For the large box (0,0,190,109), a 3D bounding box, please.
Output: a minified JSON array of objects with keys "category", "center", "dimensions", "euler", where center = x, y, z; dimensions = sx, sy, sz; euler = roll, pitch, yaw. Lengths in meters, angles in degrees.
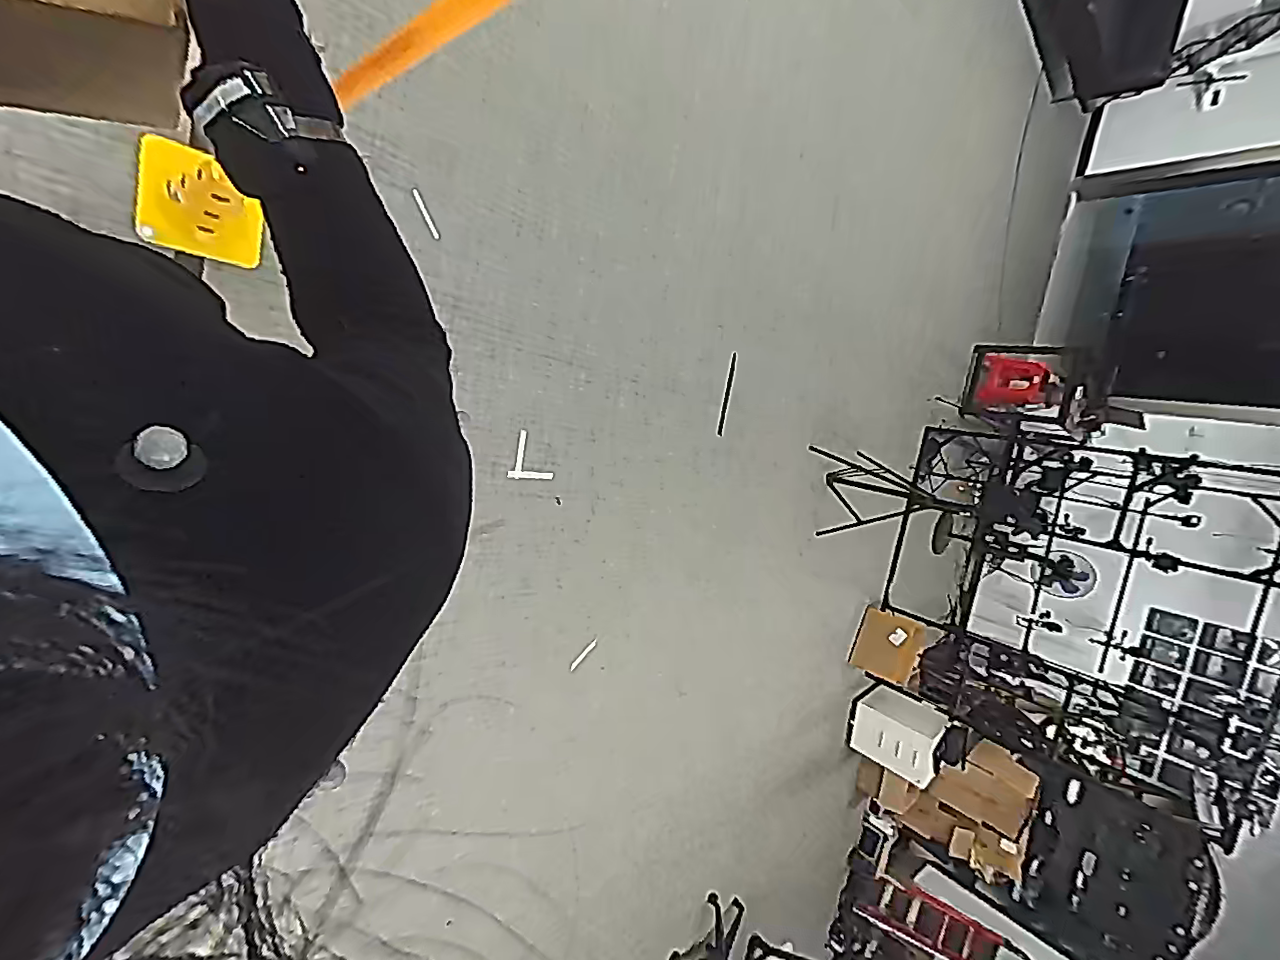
[{"category":"large box","center":[-0.546,-0.444,0.298],"dimensions":[0.408,0.320,0.320],"euler":[-15,115,-36]}]
